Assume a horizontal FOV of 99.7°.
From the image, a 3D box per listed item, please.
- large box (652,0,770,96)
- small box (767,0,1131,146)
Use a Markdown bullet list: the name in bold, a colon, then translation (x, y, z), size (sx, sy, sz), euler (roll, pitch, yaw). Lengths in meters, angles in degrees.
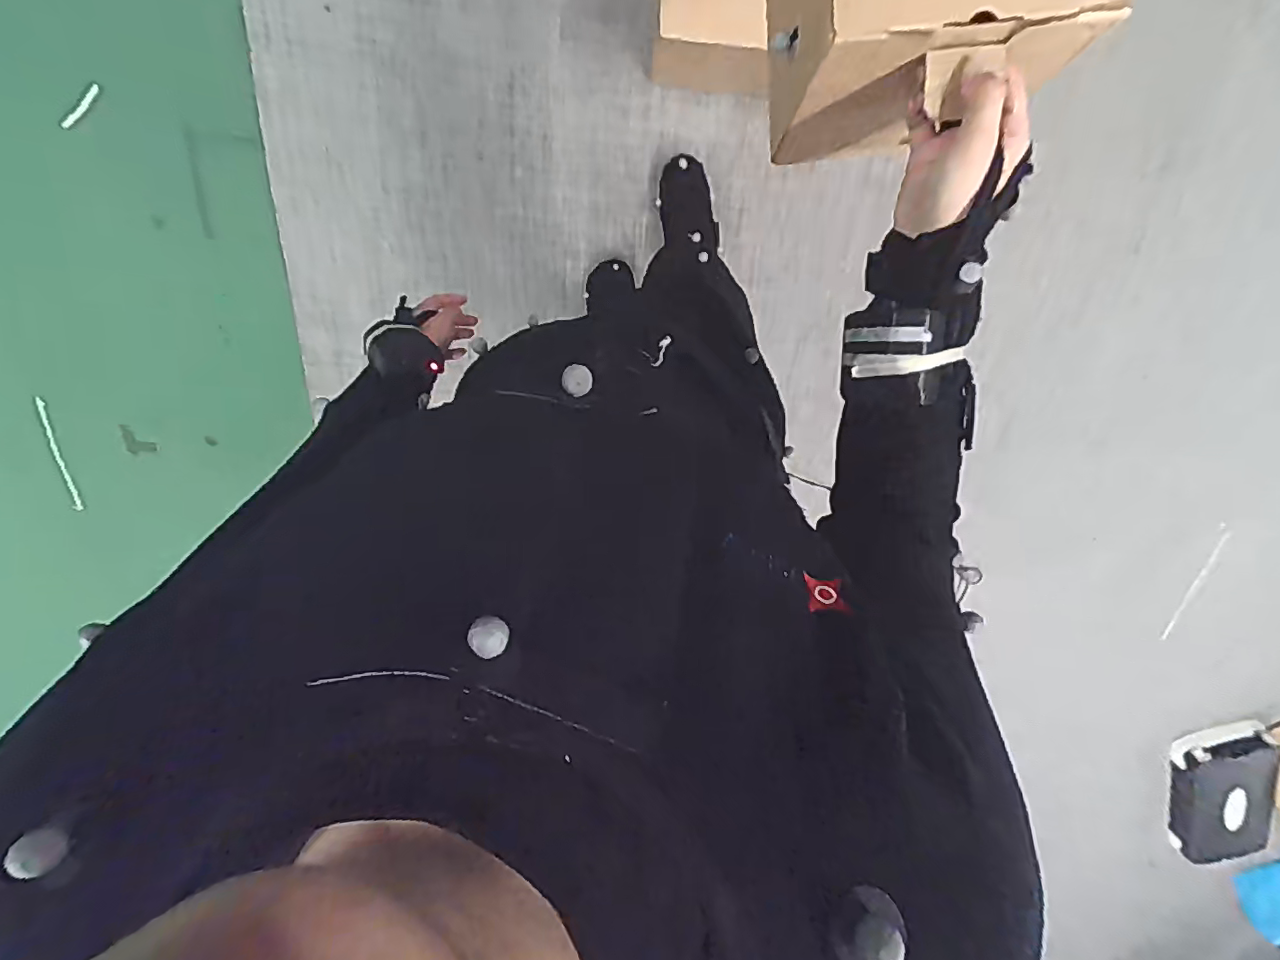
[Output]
- **large box**: translation (0.233, -0.839, 0.874), size (0.408, 0.320, 0.320), euler (3, 116, -4)
- **small box**: translation (0.182, -0.347, 0.357), size (0.168, 0.176, 0.179), euler (-4, 98, 2)
